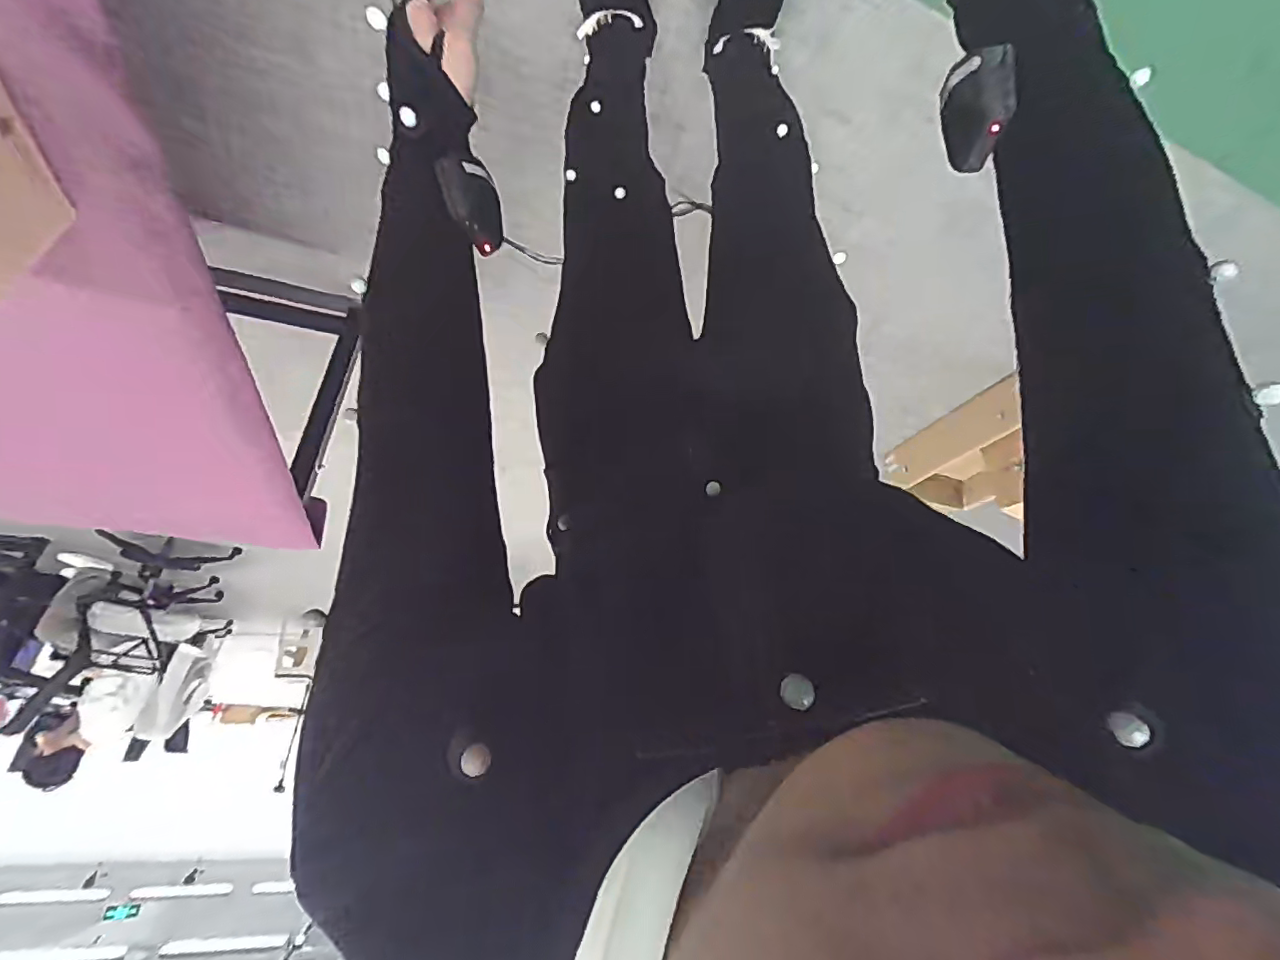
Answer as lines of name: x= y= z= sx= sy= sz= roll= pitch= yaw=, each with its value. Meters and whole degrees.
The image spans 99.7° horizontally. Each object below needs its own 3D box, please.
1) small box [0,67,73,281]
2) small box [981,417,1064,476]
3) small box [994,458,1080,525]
small box: x=-0.595 y=-0.239 z=0.392 sx=0.179 sy=0.176 sz=0.168 roll=14 pitch=149 yaw=-18
small box: x=1.383 y=-0.106 z=1.961 sx=0.179 sy=0.176 sz=0.168 roll=15 pitch=150 yaw=-22
small box: x=1.382 y=0.040 z=1.888 sx=0.179 sy=0.176 sz=0.168 roll=17 pitch=149 yaw=-25
